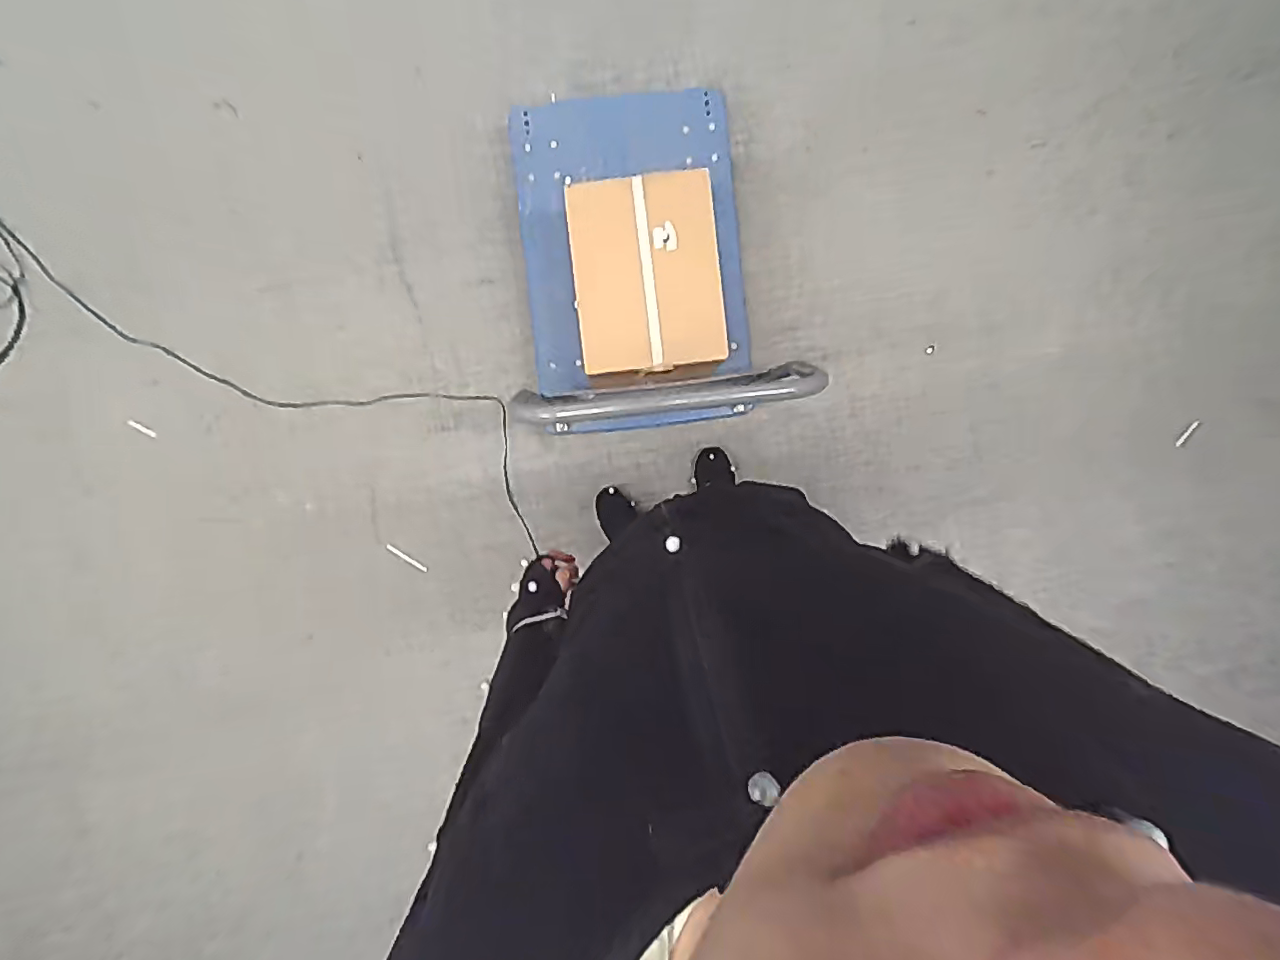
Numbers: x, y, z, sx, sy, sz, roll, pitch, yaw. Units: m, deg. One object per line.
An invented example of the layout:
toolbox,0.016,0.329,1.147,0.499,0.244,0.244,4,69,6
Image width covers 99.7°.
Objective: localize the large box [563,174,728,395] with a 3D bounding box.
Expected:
large box,0.014,-0.439,1.302,0.320,0.320,0.408,-7,91,-1
